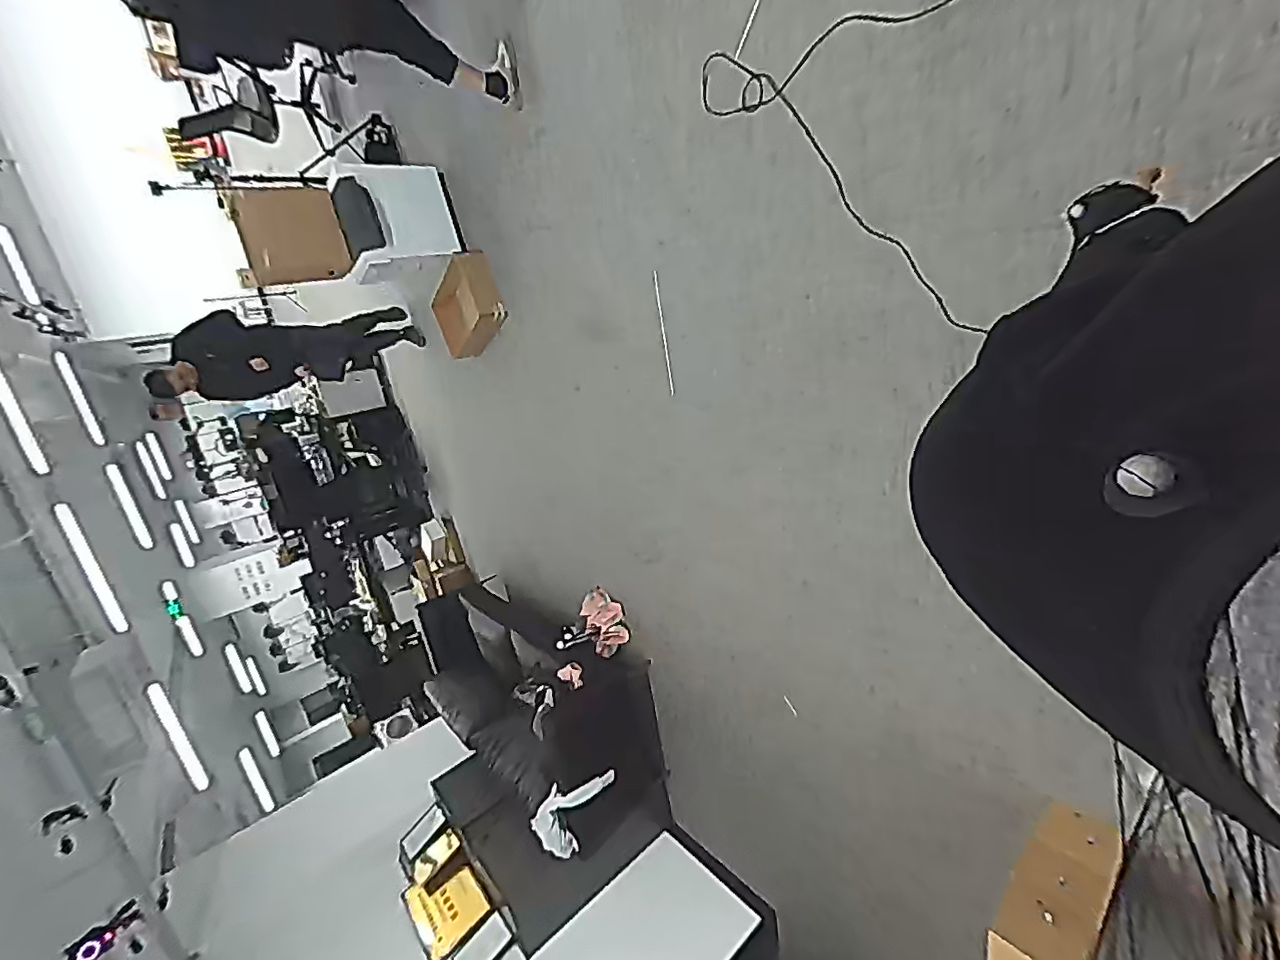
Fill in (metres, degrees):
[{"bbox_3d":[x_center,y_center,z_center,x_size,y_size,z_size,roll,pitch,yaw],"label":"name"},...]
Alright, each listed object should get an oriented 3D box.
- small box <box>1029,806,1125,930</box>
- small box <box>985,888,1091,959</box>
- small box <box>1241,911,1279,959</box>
[{"bbox_3d":[1.184,1.037,1.465,0.168,0.176,0.179,12,116,49],"label":"small box"},{"bbox_3d":[0.933,1.131,1.272,0.168,0.176,0.179,12,116,48],"label":"small box"},{"bbox_3d":[1.434,1.089,1.165,0.179,0.176,0.168,3,110,50],"label":"small box"}]
